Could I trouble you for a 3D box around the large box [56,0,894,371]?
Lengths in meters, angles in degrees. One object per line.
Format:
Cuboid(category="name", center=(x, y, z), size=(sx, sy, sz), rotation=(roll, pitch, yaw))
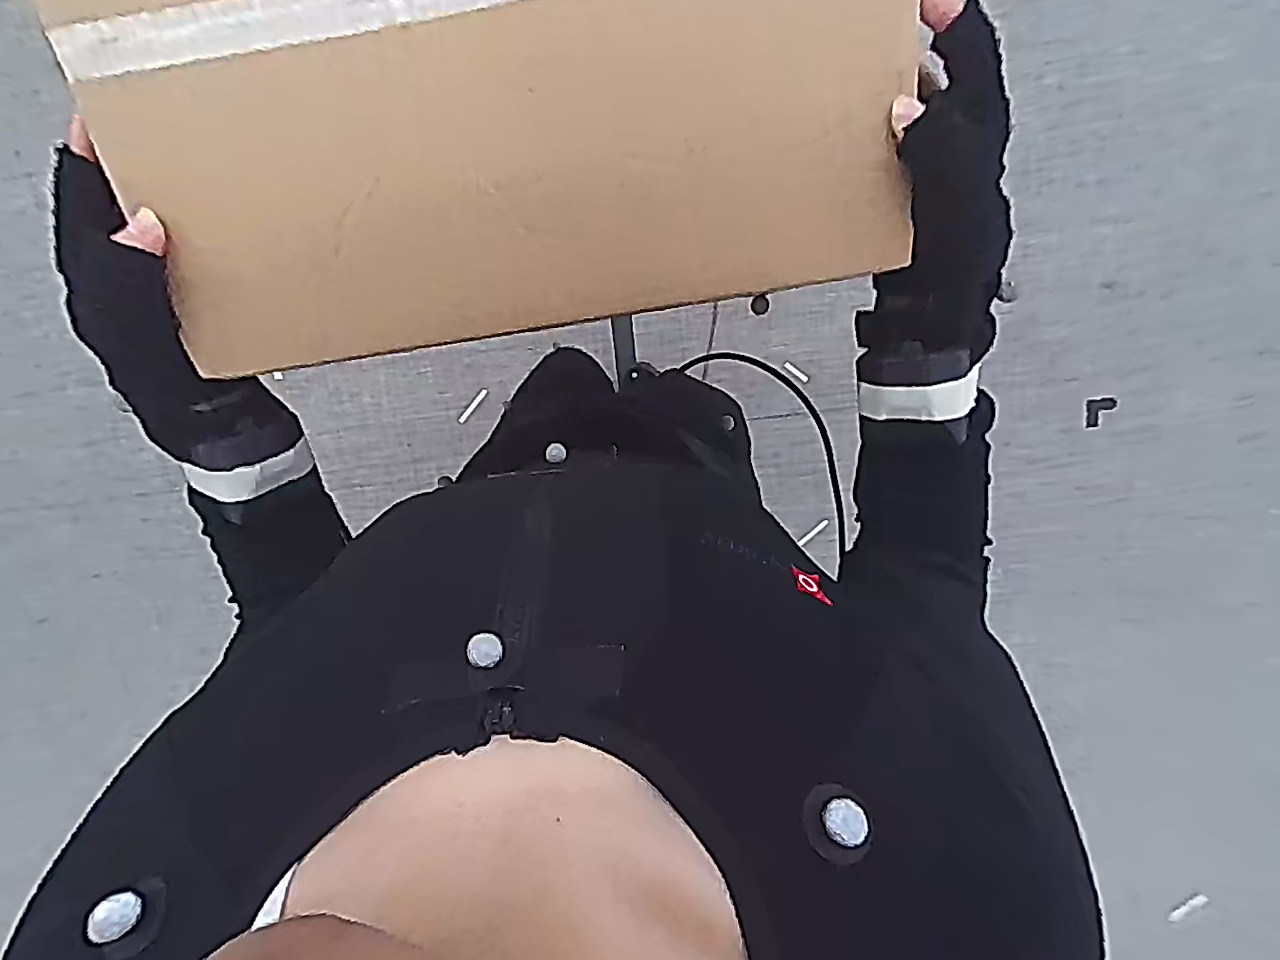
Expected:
Cuboid(category="large box", center=(-0.078, -0.290, 0.398), size=(0.408, 0.320, 0.320), rotation=(-9, 110, 3))
